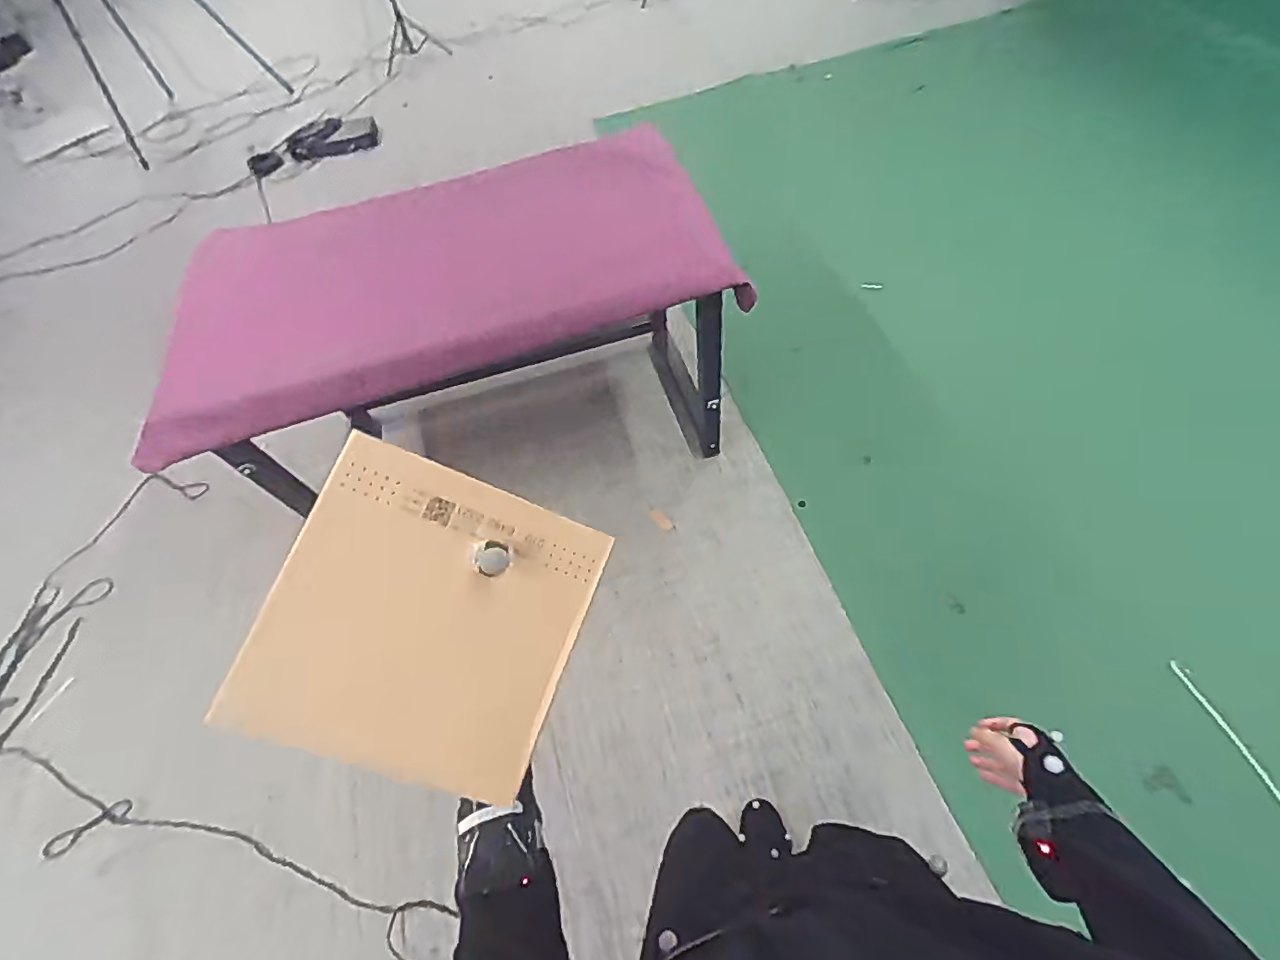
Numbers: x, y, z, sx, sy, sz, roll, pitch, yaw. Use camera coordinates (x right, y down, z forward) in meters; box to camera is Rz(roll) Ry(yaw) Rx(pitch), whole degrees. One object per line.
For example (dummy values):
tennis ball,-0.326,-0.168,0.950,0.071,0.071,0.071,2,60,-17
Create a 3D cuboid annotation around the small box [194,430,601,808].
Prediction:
small box,-0.142,0.083,0.377,0.168,0.179,0.176,24,77,-13
